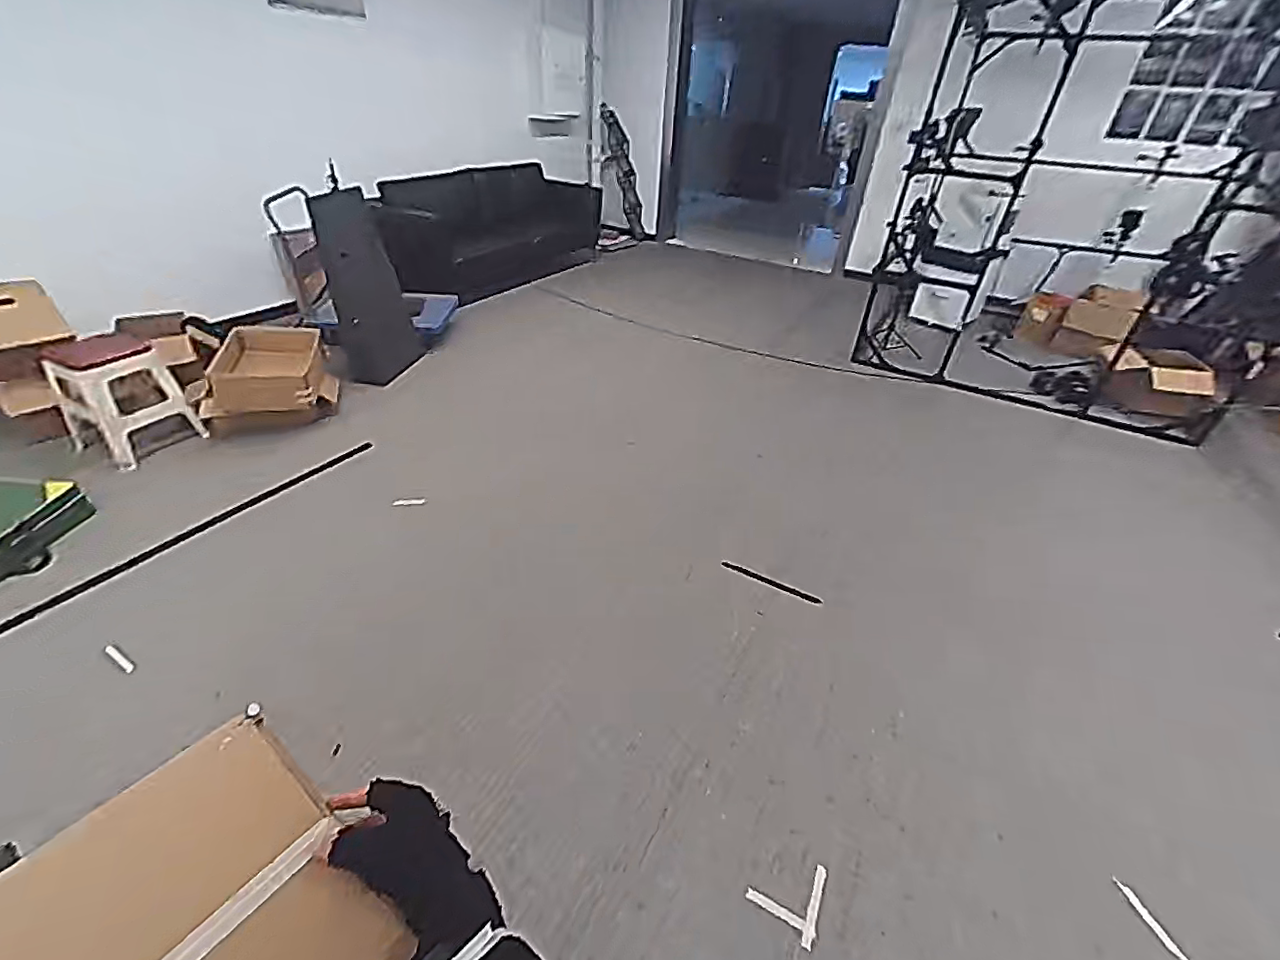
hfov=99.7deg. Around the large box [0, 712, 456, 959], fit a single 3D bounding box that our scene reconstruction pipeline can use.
[{"bbox_3d":[-0.400,0.501,0.437,0.320,0.320,0.408,32,43,23],"label":"large box"}]
